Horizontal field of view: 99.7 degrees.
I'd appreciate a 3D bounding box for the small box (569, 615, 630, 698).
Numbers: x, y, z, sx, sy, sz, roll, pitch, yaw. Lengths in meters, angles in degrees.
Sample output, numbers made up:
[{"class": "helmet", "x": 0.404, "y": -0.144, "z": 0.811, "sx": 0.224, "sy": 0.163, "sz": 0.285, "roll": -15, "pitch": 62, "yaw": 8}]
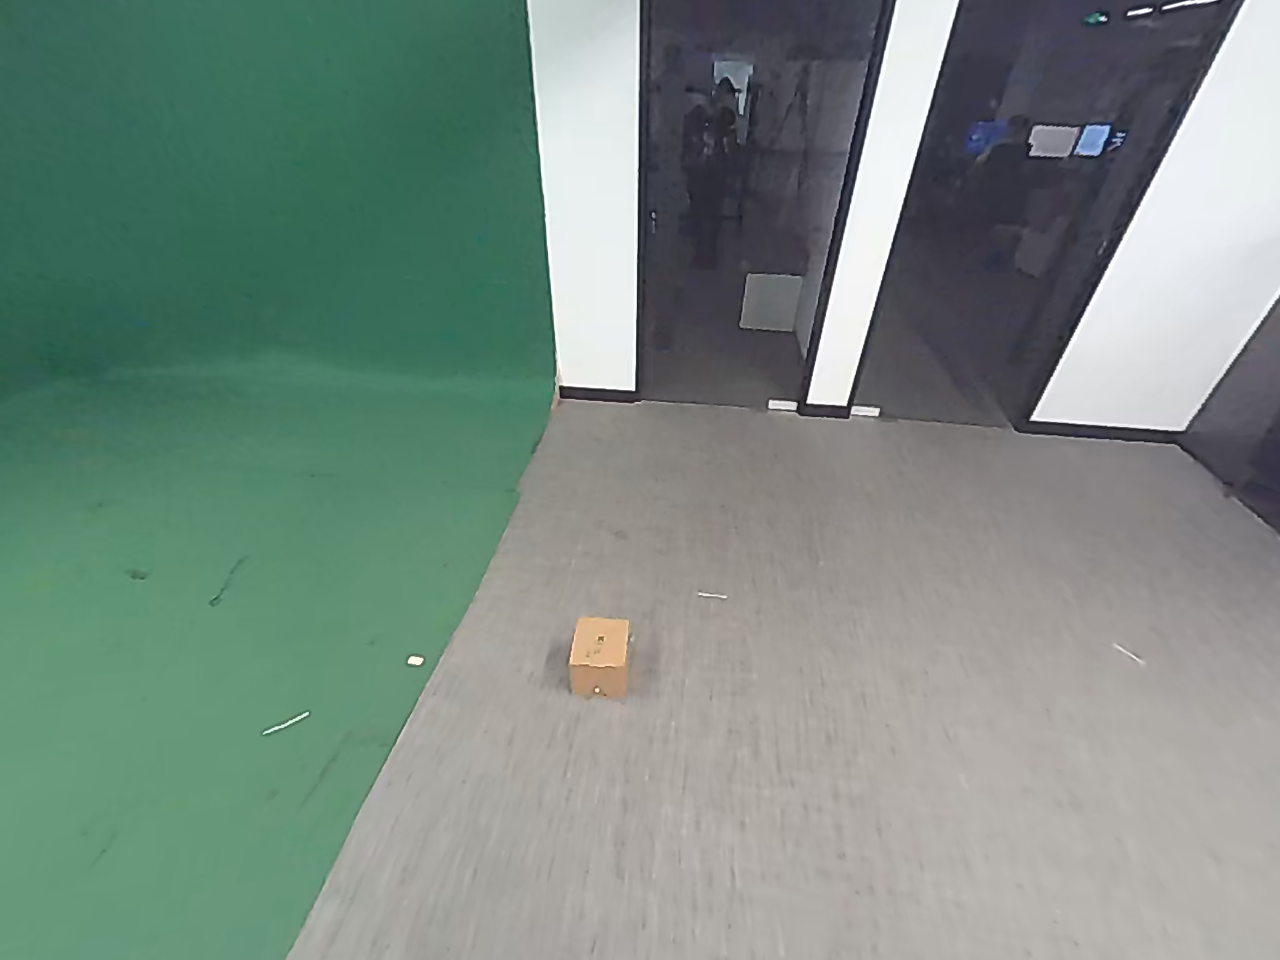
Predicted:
[{"class": "small box", "x": -0.123, "y": 0.549, "z": 1.682, "sx": 0.168, "sy": 0.176, "sz": 0.179, "roll": 3, "pitch": 36, "yaw": 2}]
